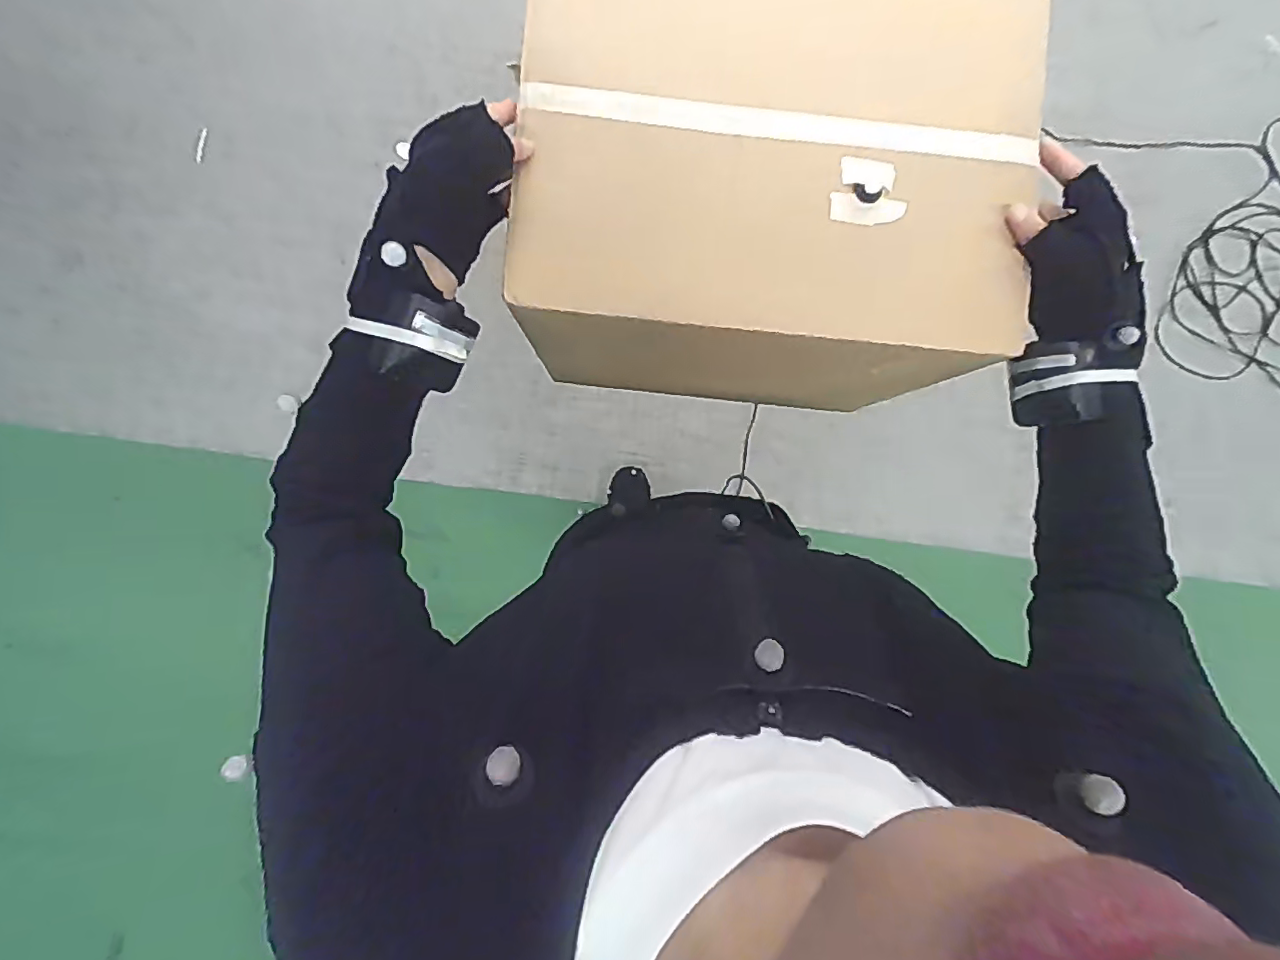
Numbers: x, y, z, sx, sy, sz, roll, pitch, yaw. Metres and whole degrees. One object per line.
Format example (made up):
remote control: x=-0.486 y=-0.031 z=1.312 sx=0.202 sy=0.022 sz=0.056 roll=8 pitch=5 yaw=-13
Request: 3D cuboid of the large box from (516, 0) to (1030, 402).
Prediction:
large box: x=0.103 y=-0.273 z=0.578 sx=0.408 sy=0.320 sz=0.320 roll=5 pitch=90 yaw=-2
